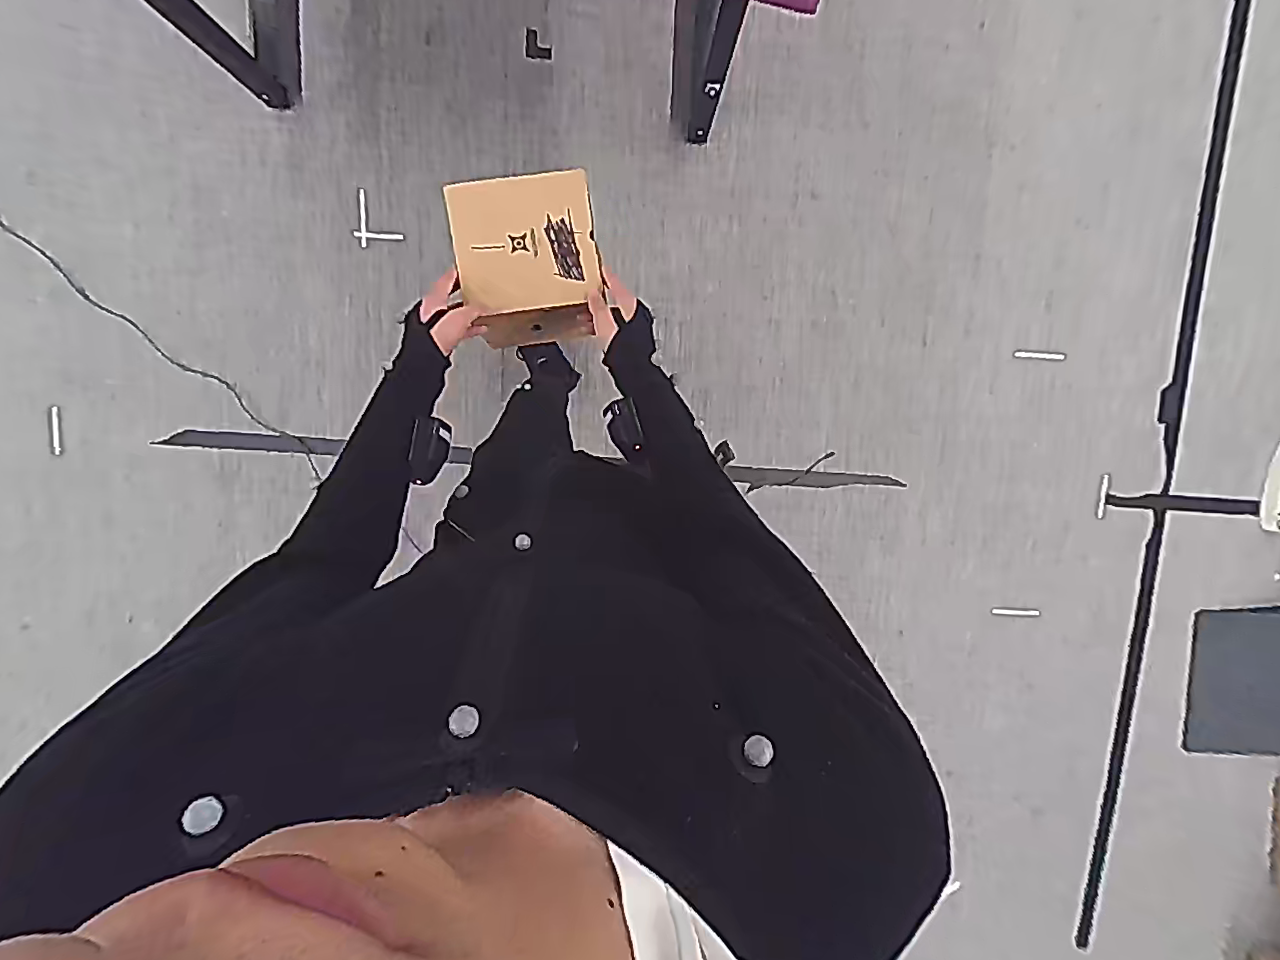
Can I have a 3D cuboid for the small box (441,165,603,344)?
[{"bbox_3d":[-0.148,-0.292,0.732,0.179,0.176,0.168,-9,91,-3],"label":"small box"}]
